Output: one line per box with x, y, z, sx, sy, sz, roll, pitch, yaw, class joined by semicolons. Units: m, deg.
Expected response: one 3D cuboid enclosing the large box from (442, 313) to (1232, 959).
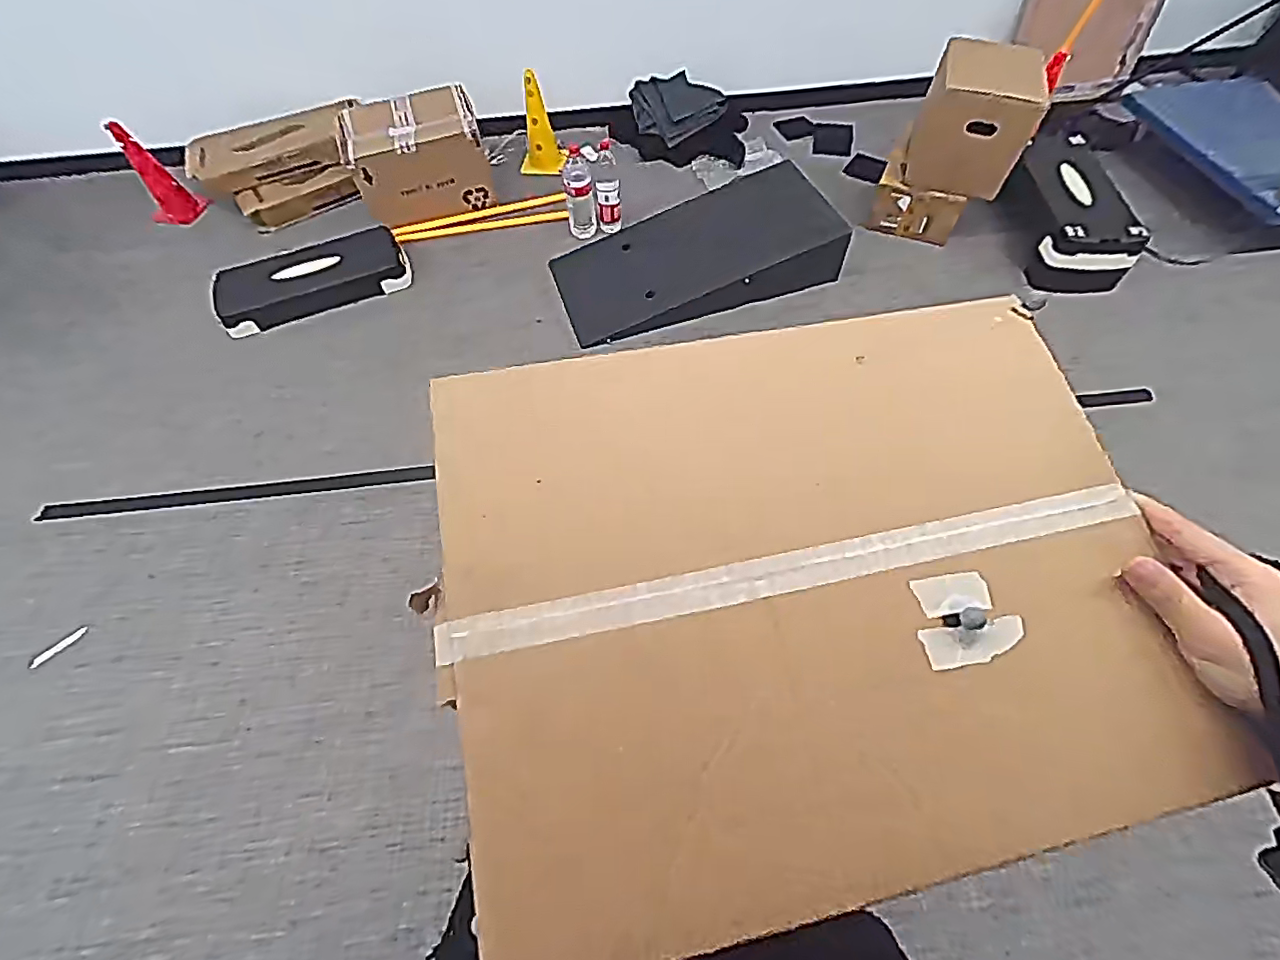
0.089;0.107;0.454;0.408;0.320;0.320;-10;71;-8;large box
